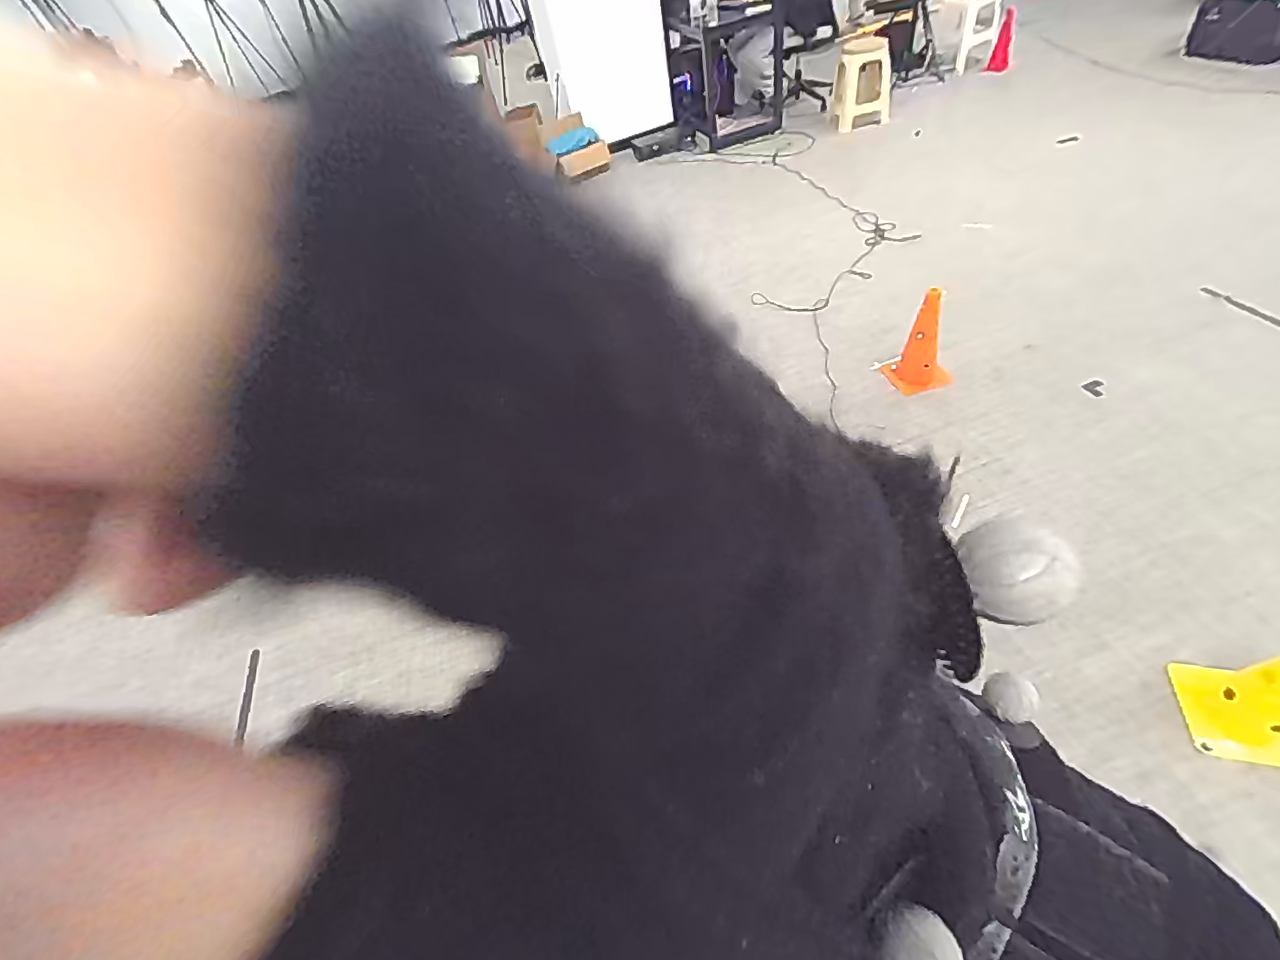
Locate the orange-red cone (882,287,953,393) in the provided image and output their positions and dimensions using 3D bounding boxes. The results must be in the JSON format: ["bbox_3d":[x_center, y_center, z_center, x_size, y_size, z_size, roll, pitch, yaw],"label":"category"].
[{"bbox_3d":[1.022,-0.520,1.933,0.198,0.360,0.199,-15,48,2],"label":"orange-red cone"}]
